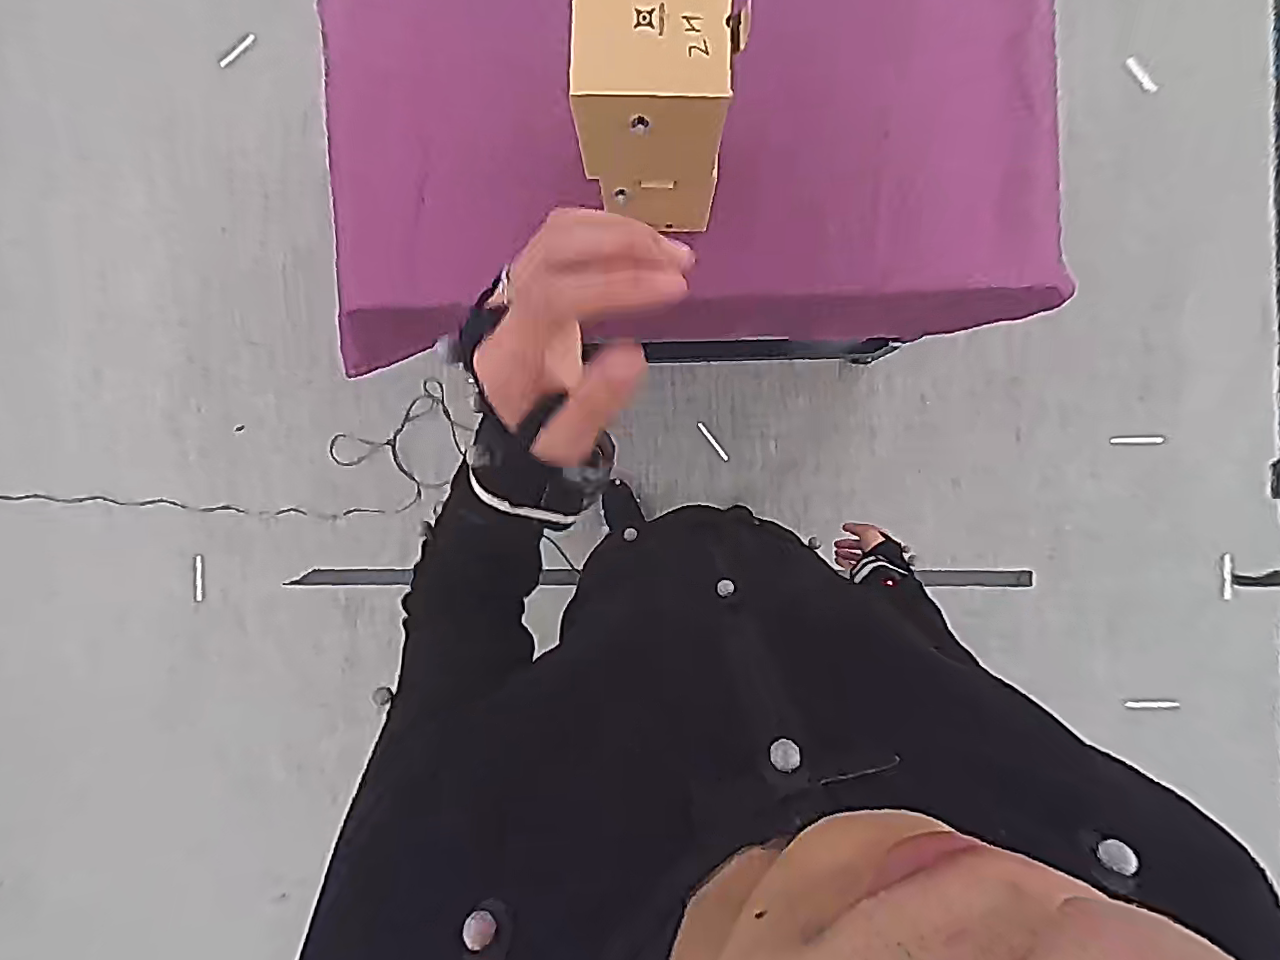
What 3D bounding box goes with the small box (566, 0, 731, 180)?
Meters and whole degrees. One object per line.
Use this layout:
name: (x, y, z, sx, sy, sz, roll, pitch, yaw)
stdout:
small box: (0.012, -0.493, 0.661, 0.179, 0.176, 0.168, 2, 91, 0)
